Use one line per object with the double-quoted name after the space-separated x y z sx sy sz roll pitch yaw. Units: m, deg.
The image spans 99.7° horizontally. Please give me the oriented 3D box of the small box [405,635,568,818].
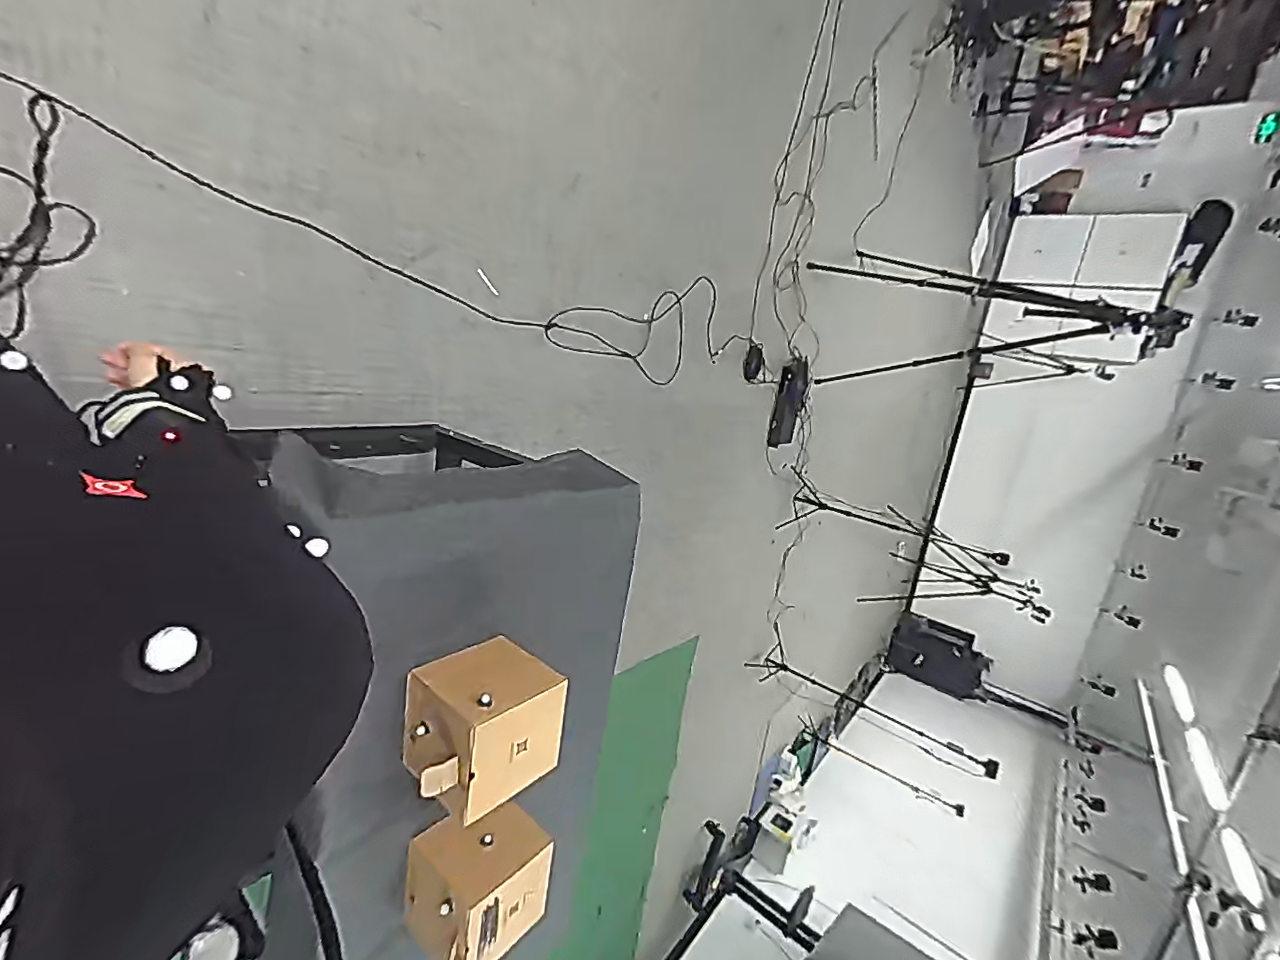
-0.242 0.371 0.856 0.179 0.176 0.168 -10 113 -51 "small box"
